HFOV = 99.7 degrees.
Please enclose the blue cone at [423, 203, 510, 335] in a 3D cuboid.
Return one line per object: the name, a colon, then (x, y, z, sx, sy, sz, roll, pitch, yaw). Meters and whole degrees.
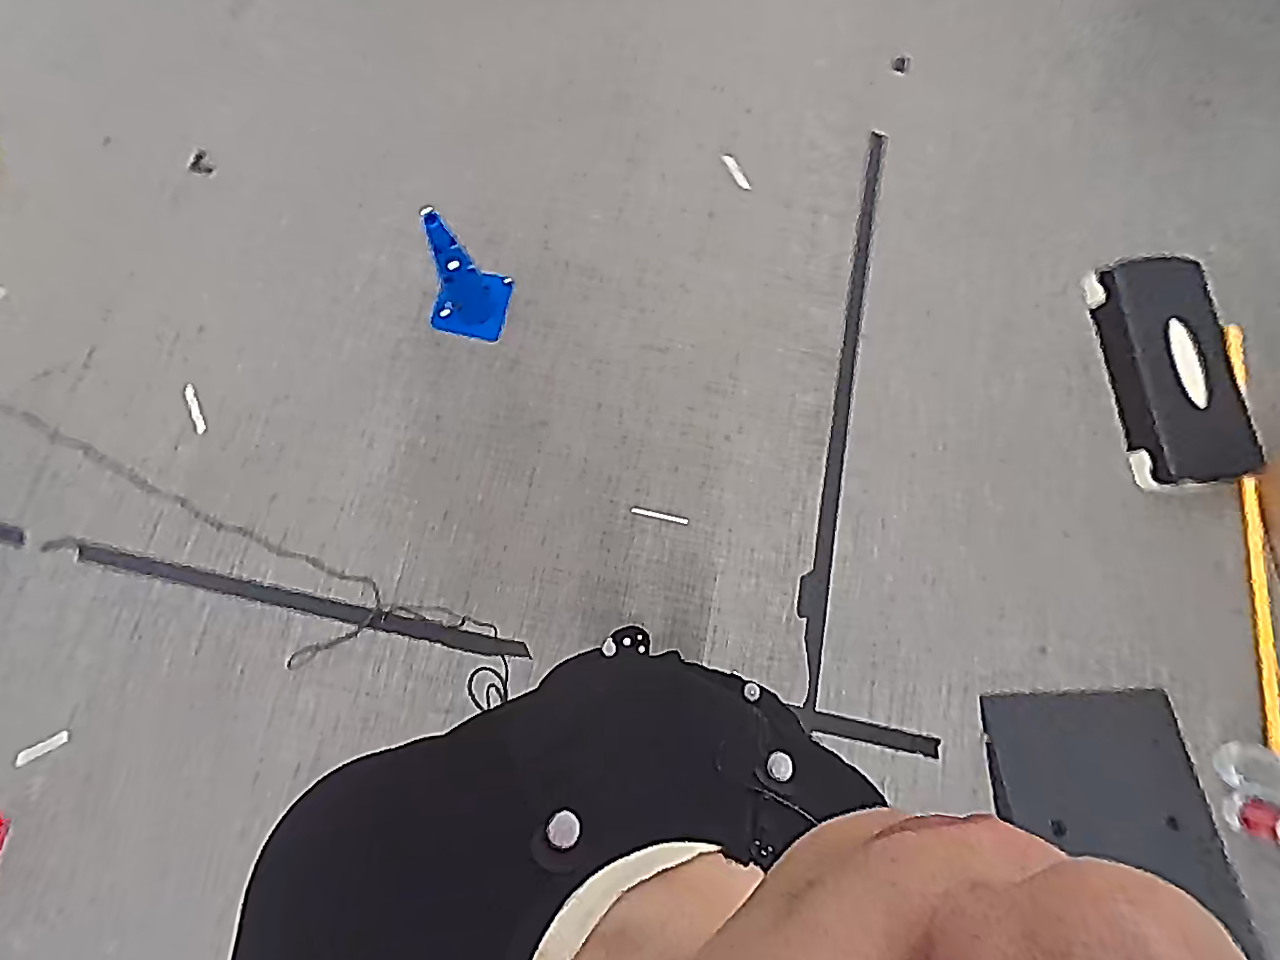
blue cone: (-0.462, -0.534, 1.346, 0.193, 0.380, 0.192, 13, 77, 0)
